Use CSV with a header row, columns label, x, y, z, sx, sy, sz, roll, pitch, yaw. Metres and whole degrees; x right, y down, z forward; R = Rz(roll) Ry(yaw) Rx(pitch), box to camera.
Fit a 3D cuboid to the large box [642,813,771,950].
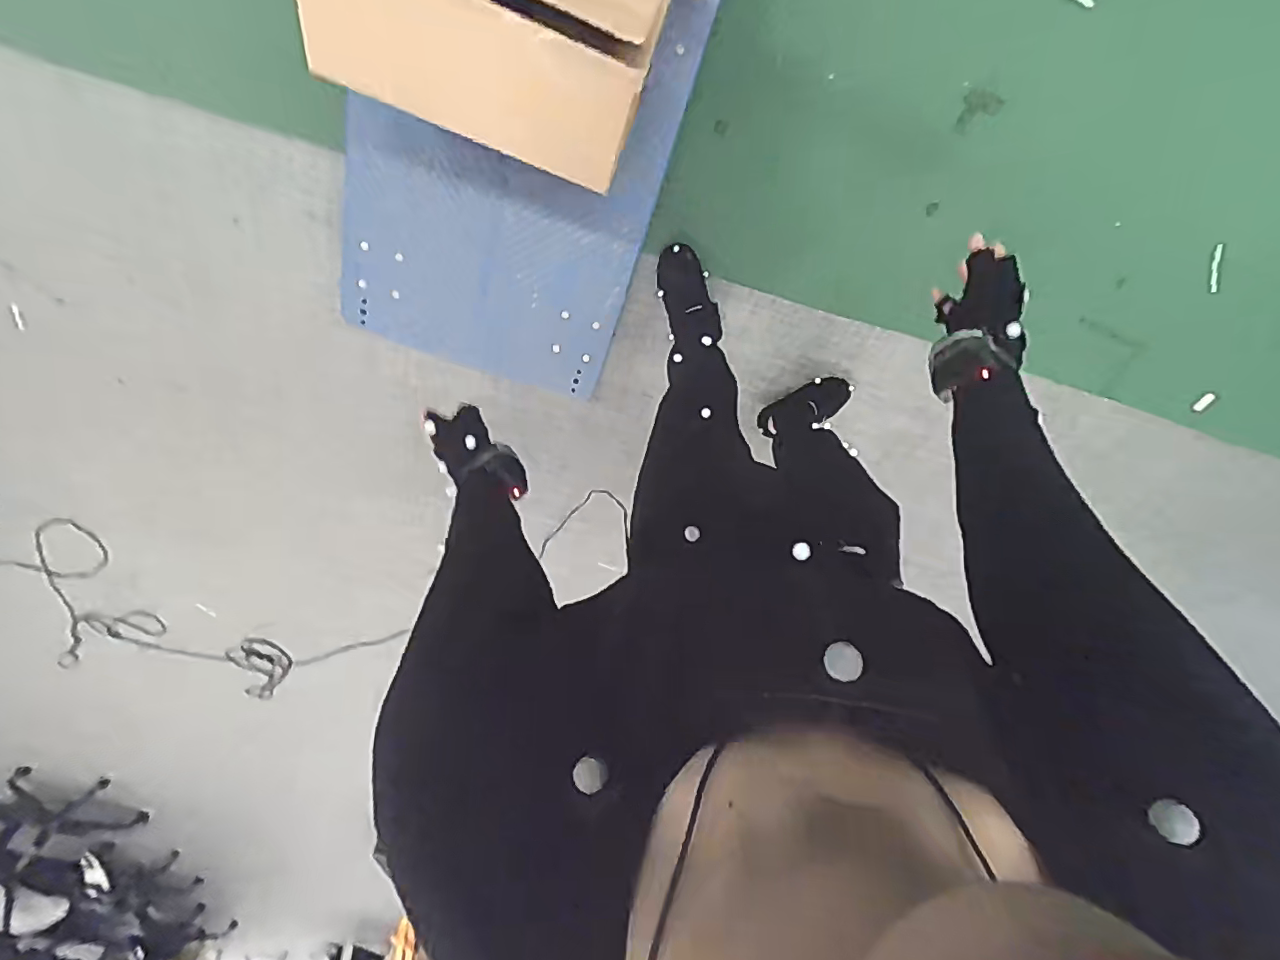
label,x,y,z,sx,sy,sz,roll,pitch,yaw
large box,0.238,1.564,2.115,0.408,0.320,0.320,14,119,-8
